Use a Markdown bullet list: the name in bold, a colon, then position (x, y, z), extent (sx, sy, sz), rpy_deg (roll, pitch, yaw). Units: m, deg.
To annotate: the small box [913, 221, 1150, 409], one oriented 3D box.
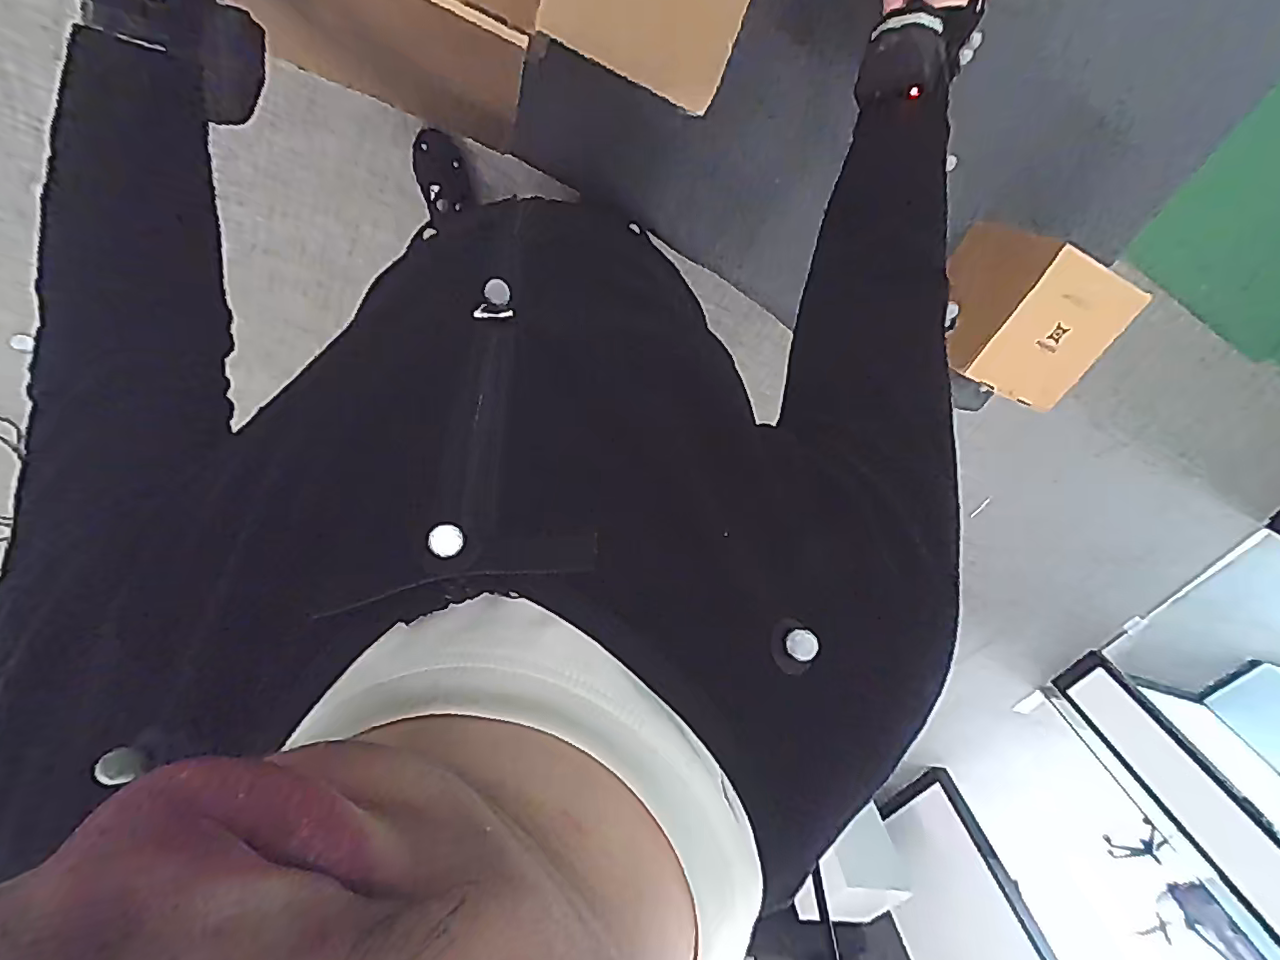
- **small box**: position (0.519, -0.232, 0.752), extent (0.168, 0.176, 0.179), rpy_deg (17, 120, -19)
